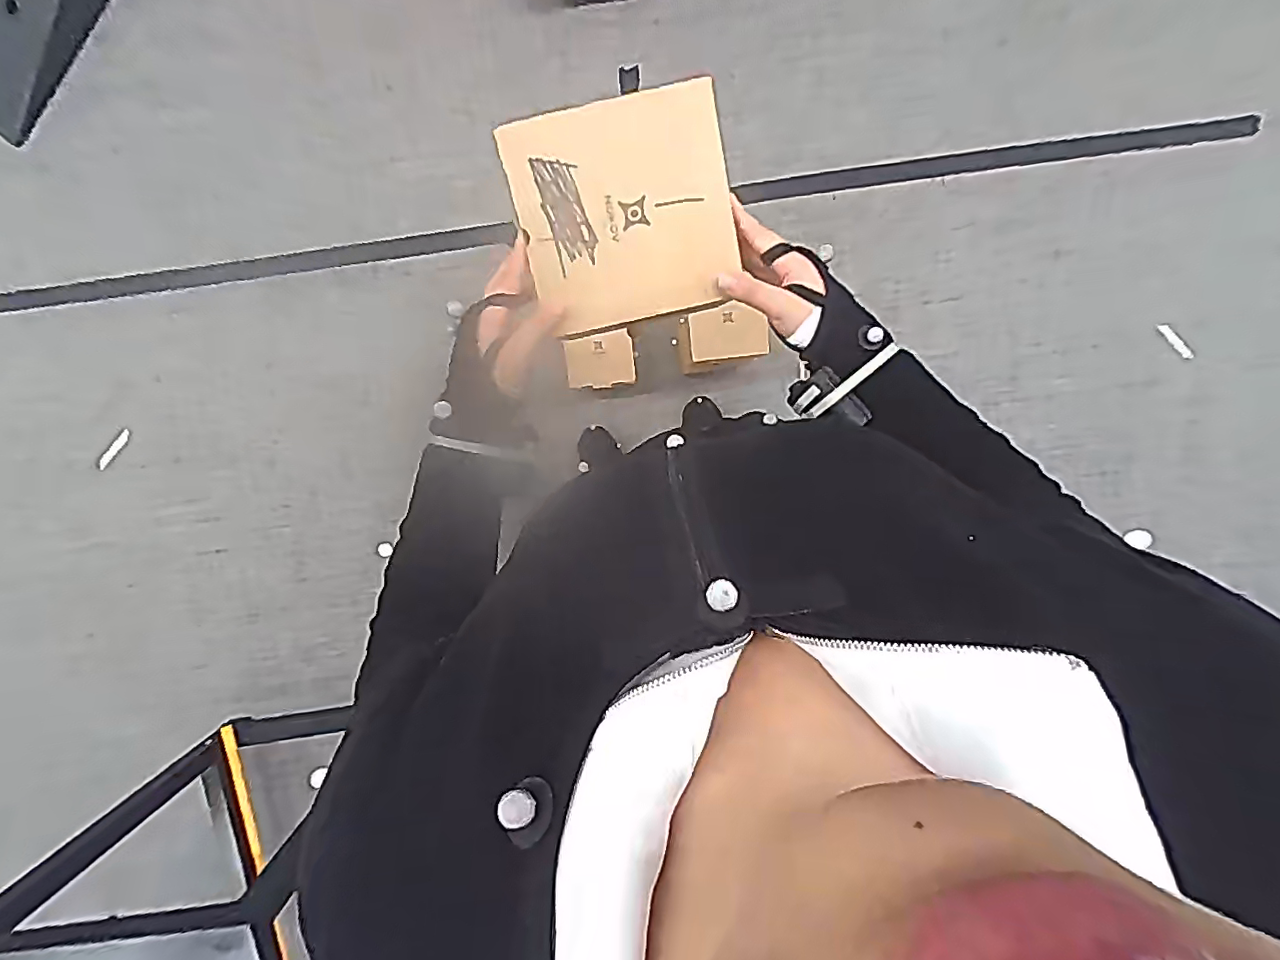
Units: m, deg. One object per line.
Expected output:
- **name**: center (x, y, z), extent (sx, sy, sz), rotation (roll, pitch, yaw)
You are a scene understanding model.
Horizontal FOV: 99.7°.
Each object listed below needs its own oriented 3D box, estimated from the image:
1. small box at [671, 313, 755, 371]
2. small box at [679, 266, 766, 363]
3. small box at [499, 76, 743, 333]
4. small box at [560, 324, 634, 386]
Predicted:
- **small box**: center (0.180, -0.374, 1.373), extent (0.179, 0.176, 0.168), rotation (-9, 98, 0)
- **small box**: center (0.177, -0.362, 1.210), extent (0.168, 0.176, 0.179), rotation (-6, 99, 1)
- **small box**: center (-0.013, -0.240, 0.519), extent (0.179, 0.176, 0.168), rotation (-12, 105, 2)
- **small box**: center (-0.105, -0.333, 1.373), extent (0.168, 0.176, 0.179), rotation (-5, 99, 1)
